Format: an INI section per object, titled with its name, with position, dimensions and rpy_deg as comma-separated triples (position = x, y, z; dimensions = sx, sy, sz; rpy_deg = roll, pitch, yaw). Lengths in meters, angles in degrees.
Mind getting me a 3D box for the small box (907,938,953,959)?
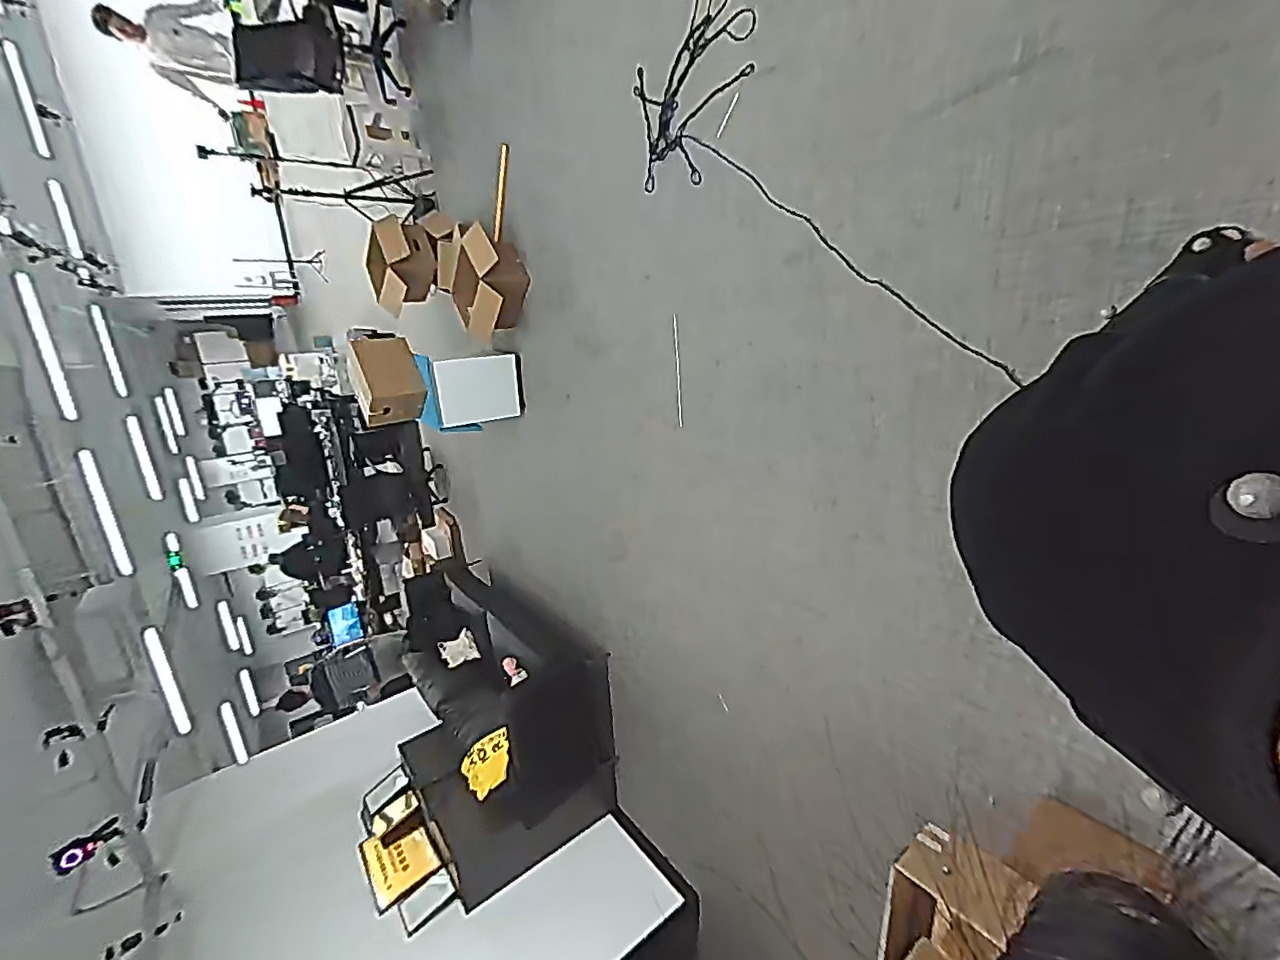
[small box]
position = 0.620, 1.127, 1.129
dimensions = 0.168, 0.176, 0.179
rpy_deg = 27, 123, 48
